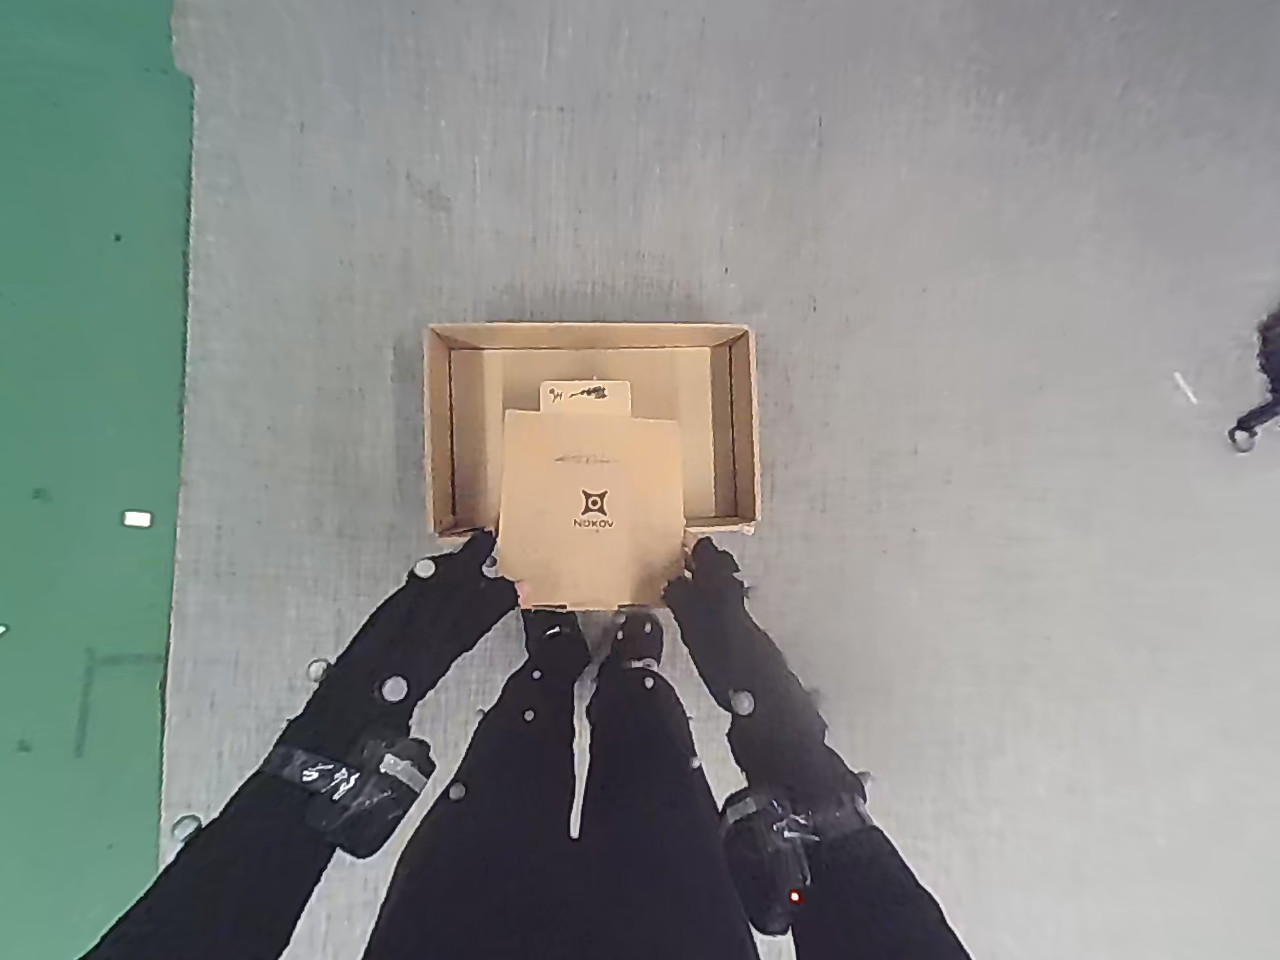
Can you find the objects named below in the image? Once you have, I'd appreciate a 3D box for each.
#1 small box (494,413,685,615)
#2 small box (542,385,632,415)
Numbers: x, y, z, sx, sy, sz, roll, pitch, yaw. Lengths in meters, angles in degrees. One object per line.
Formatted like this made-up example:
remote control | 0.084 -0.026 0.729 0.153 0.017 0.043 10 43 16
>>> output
small box | -0.058 0.039 0.555 0.168 0.176 0.179 -2 79 -11
small box | -0.102 -0.087 1.065 0.168 0.176 0.179 -2 90 -6
